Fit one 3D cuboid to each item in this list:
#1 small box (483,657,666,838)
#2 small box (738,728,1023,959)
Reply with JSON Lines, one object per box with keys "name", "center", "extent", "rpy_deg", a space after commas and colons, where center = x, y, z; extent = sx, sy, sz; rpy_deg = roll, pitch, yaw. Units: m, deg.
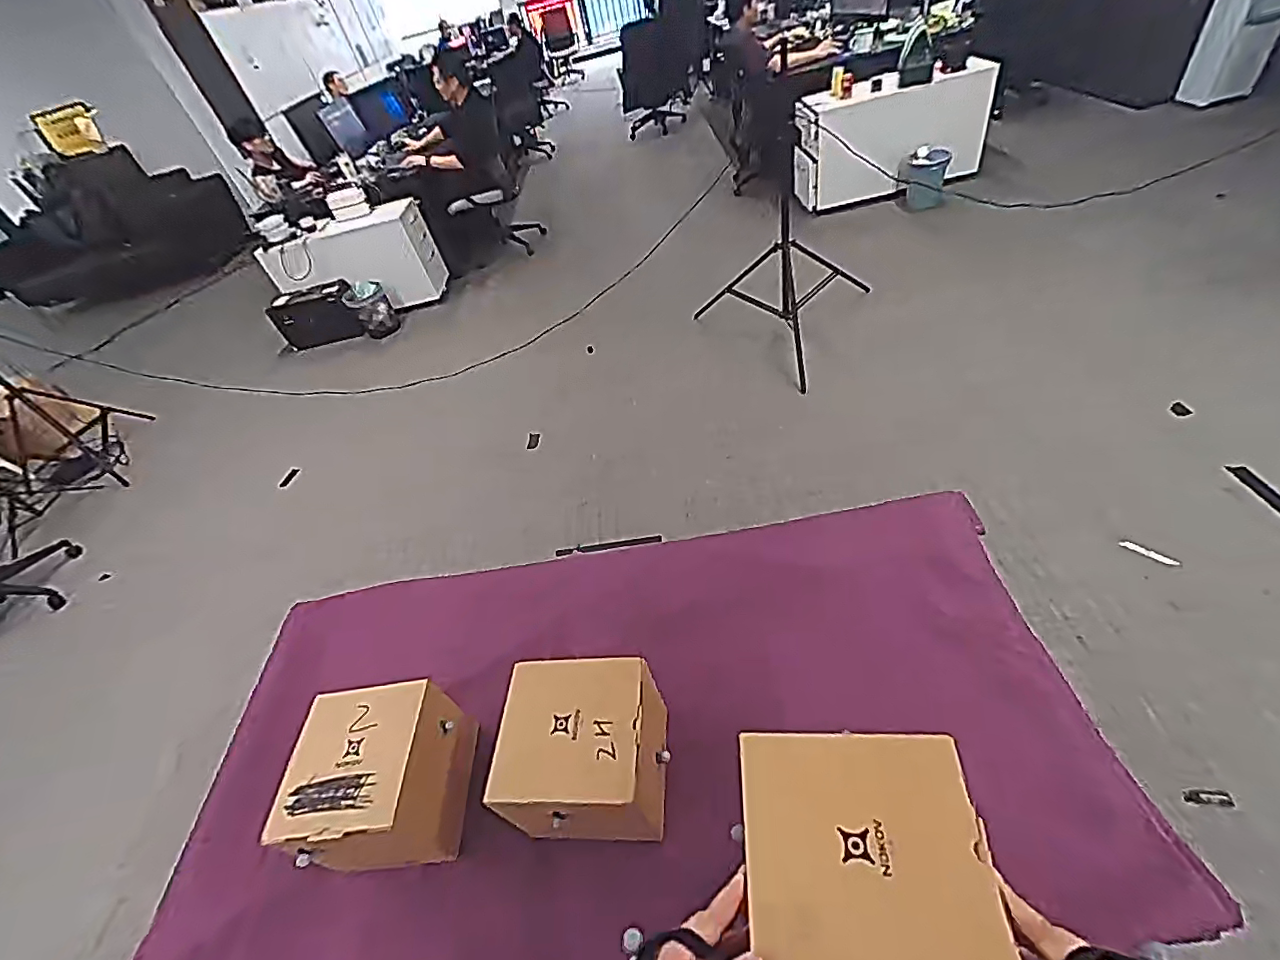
{"name": "small box", "center": [-0.069, 0.344, 0.692], "extent": [0.179, 0.176, 0.168], "rpy_deg": [-5, 45, 11]}
{"name": "small box", "center": [0.180, 0.328, 0.457], "extent": [0.179, 0.176, 0.168], "rpy_deg": [-4, 43, 10]}
